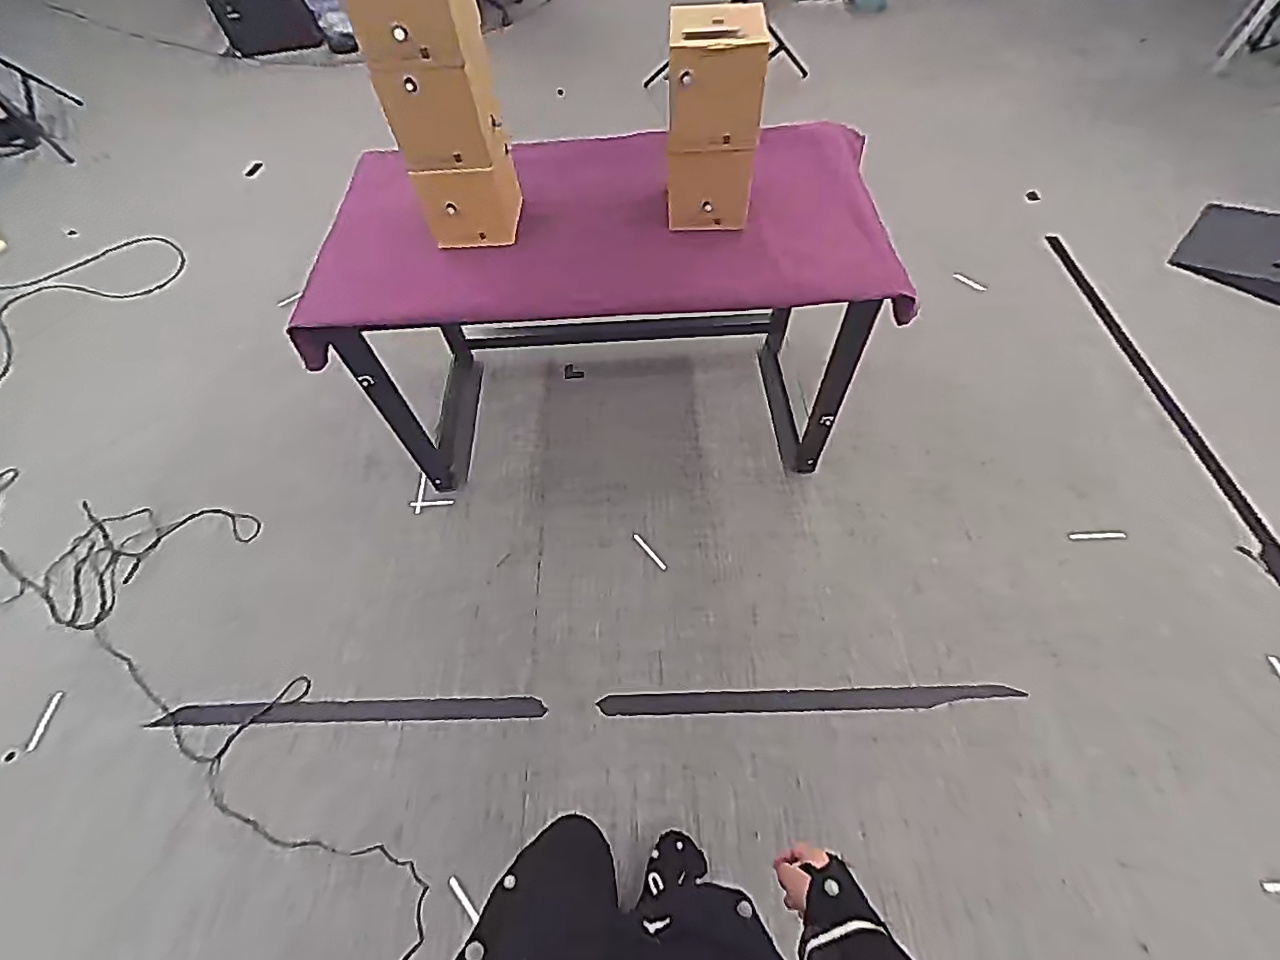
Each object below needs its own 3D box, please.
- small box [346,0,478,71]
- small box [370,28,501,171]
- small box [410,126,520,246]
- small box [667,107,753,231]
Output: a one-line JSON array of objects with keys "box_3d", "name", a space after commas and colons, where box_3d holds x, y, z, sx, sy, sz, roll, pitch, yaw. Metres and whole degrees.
[{"box_3d": [-0.370, -0.791, 0.867, 0.168, 0.176, 0.179, -2, 59, 2], "name": "small box"}, {"box_3d": [-0.367, -0.706, 1.009, 0.168, 0.176, 0.179, -3, 57, 2], "name": "small box"}, {"box_3d": [-0.359, -0.615, 1.145, 0.168, 0.176, 0.179, -2, 58, 2], "name": "small box"}, {"box_3d": [0.143, -0.652, 1.139, 0.168, 0.176, 0.179, 2, 59, 5], "name": "small box"}]
